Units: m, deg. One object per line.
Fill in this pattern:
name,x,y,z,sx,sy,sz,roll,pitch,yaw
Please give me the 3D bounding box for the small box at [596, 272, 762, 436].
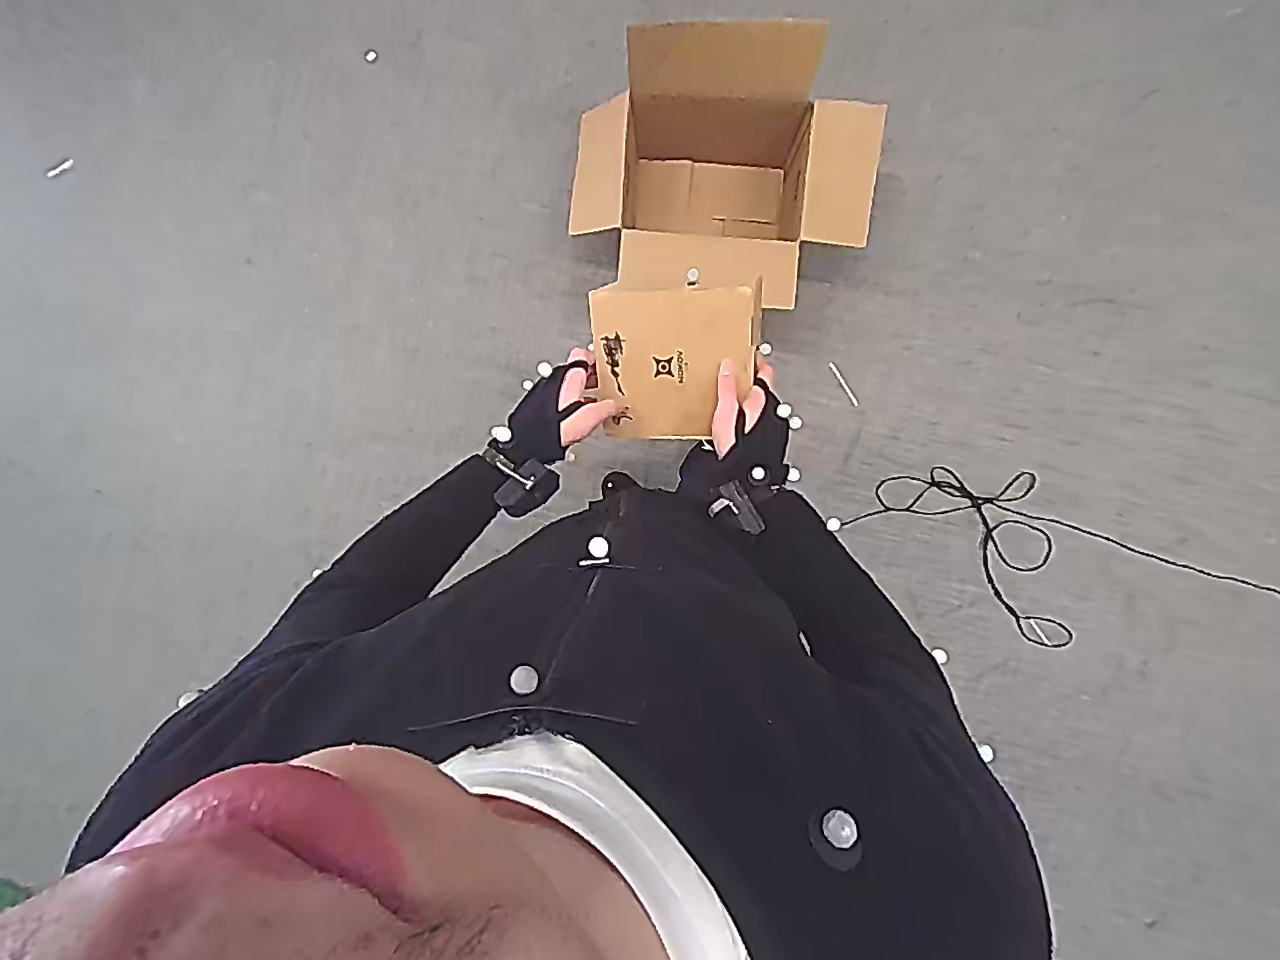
small box,0.058,-0.160,0.664,0.179,0.176,0.168,2,115,14
